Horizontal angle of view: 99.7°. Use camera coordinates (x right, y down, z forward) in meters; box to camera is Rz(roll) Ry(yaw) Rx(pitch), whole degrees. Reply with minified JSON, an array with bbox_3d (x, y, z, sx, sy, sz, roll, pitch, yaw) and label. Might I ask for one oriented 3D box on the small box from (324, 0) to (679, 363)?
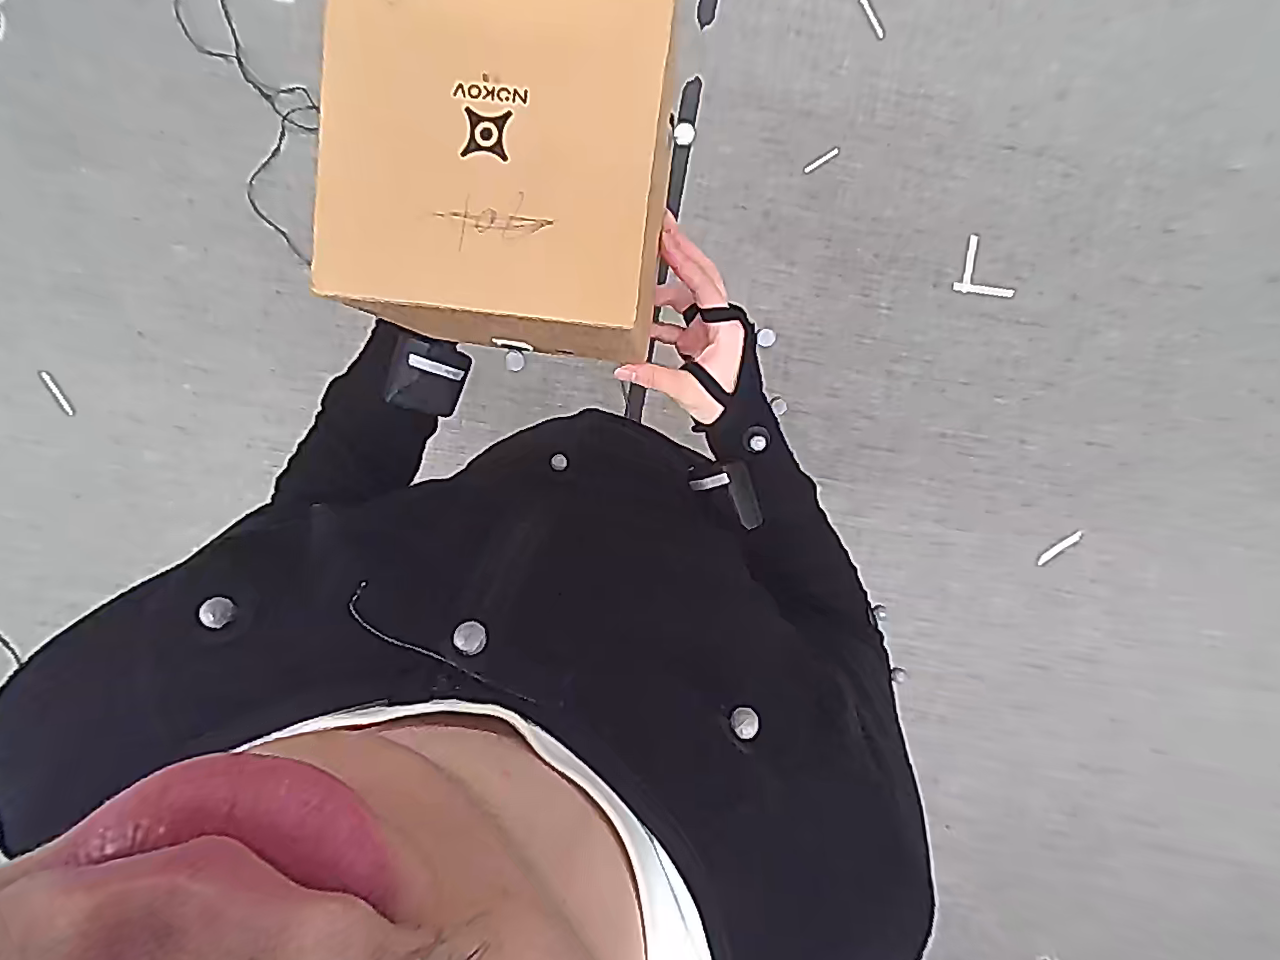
[{"bbox_3d":[-0.069,-0.181,0.350,0.168,0.176,0.179,7,96,3],"label":"small box"}]
